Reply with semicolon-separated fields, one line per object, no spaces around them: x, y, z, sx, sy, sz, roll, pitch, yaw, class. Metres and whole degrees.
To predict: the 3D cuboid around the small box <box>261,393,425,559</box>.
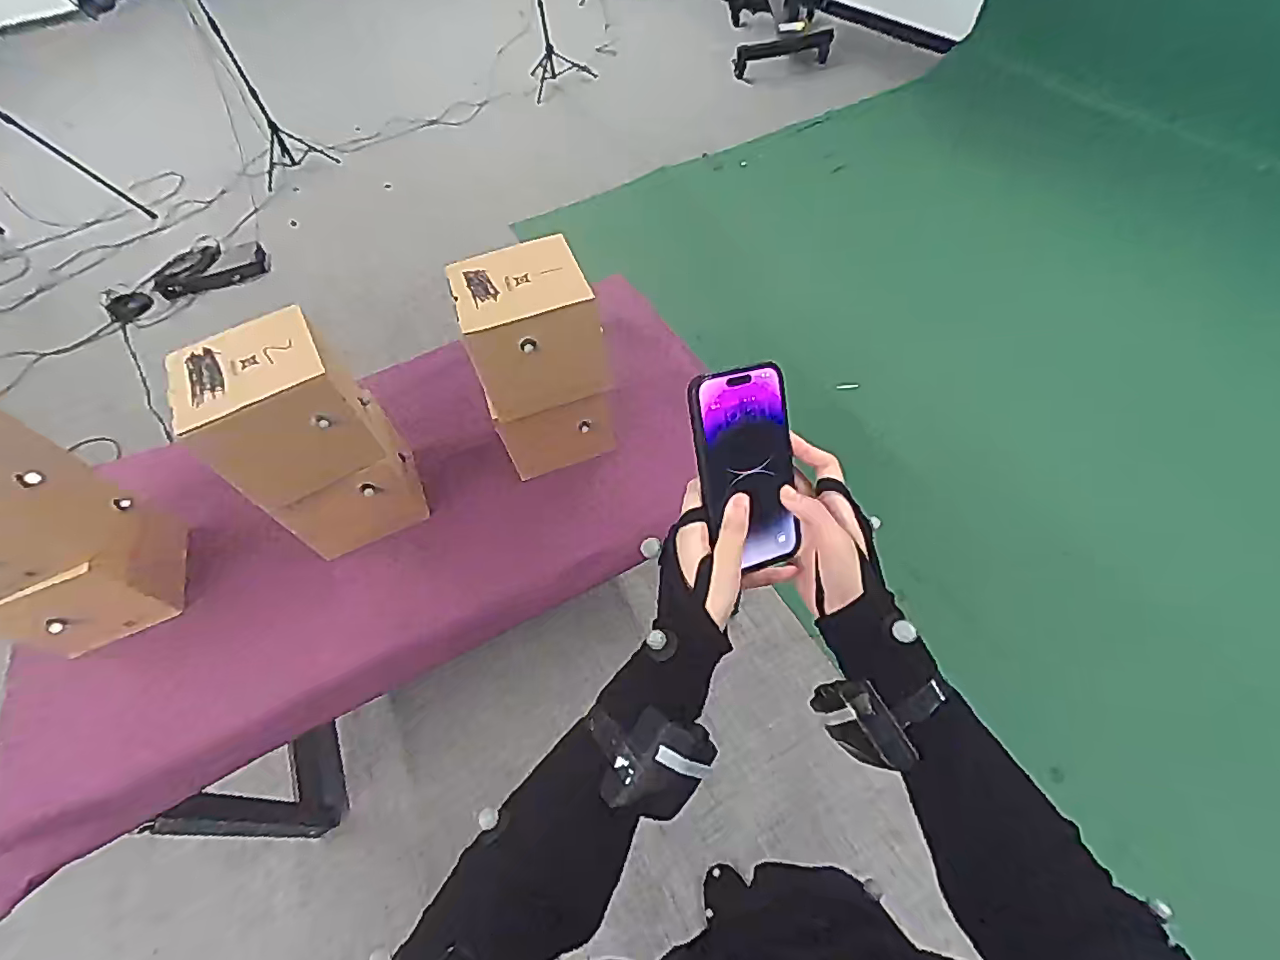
-0.468;-0.003;0.873;0.179;0.176;0.168;-24;56;-10;small box

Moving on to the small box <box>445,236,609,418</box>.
-0.159;-0.216;0.786;0.179;0.176;0.168;-19;55;-7;small box

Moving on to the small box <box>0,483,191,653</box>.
-0.827;0.142;0.818;0.168;0.176;0.179;-24;56;-10;small box

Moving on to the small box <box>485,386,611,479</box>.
-0.156;-0.130;0.926;0.179;0.176;0.168;-20;55;-6;small box

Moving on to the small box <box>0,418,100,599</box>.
-0.848;0.042;0.689;0.168;0.176;0.179;-28;57;-13;small box
